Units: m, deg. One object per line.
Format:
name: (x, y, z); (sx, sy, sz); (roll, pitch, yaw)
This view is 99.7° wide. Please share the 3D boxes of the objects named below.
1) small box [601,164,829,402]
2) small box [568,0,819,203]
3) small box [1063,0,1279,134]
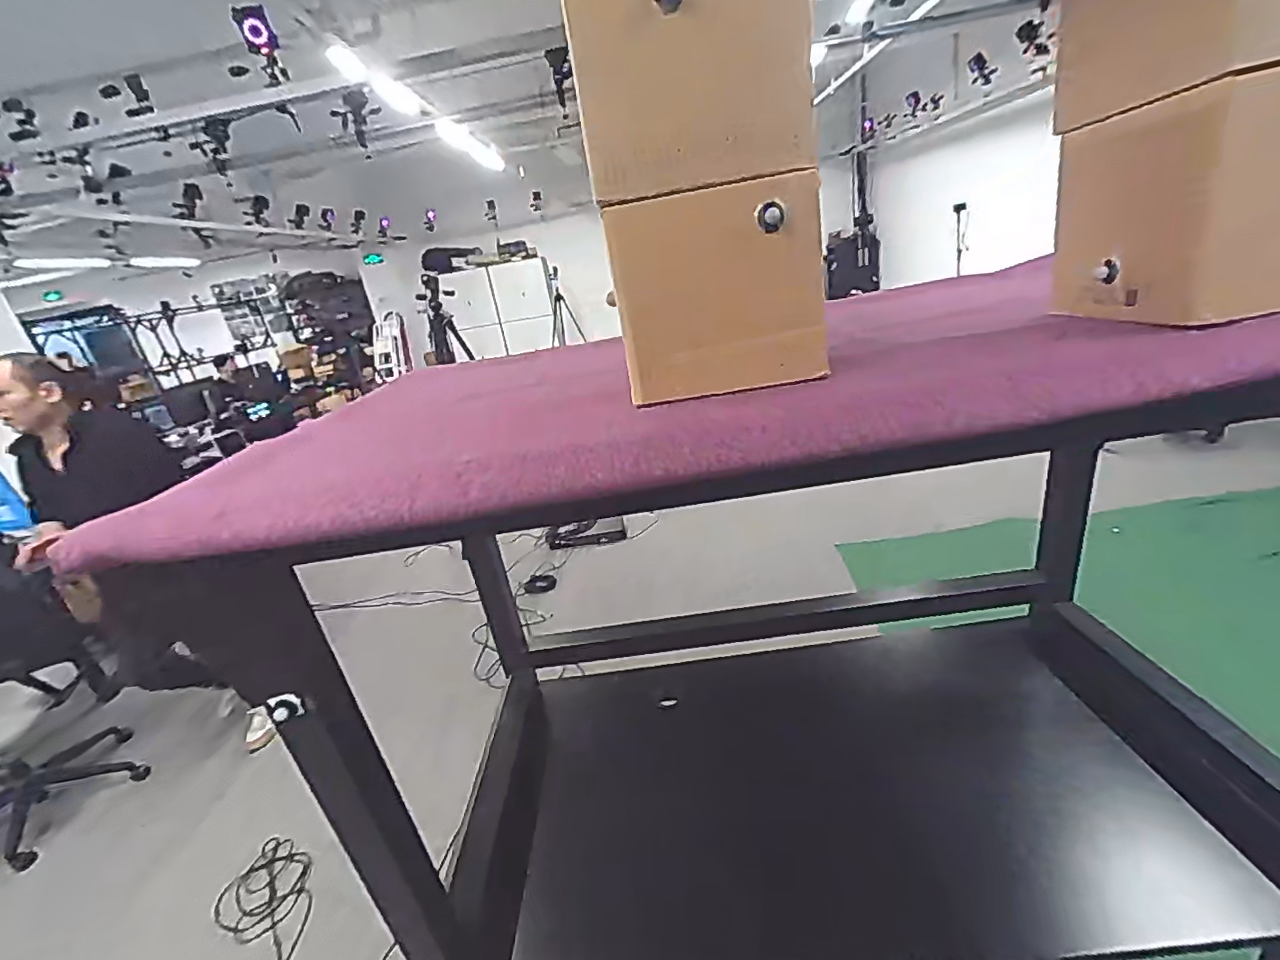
small box: (0.070, -0.178, 0.518); (0.179, 0.176, 0.168); (-8, 21, 5)
small box: (0.044, -0.331, 0.464); (0.179, 0.176, 0.168); (-7, 21, 4)
small box: (0.454, -0.382, 0.394); (0.168, 0.176, 0.179); (-9, 20, 5)
